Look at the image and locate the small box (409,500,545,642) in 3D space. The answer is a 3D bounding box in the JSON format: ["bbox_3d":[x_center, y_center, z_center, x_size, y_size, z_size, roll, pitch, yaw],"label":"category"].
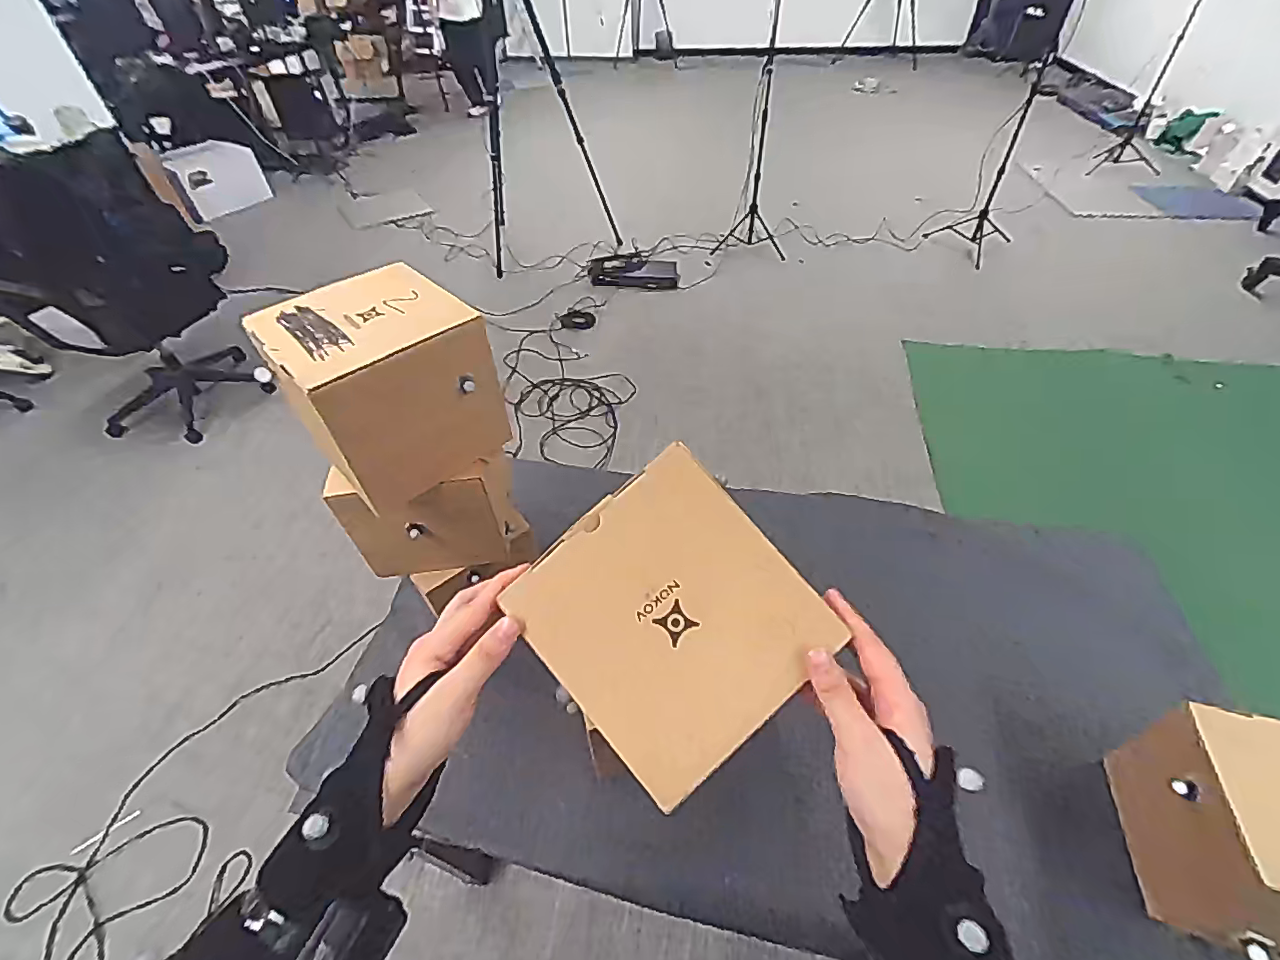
[{"bbox_3d":[-0.268,0.114,0.838,0.168,0.176,0.179,-33,54,-25],"label":"small box"}]

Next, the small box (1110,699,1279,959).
[{"bbox_3d":[0.636,0.364,0.555,0.168,0.176,0.179,11,45,15],"label":"small box"}]

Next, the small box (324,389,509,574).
[{"bbox_3d":[-0.274,0.004,0.715,0.179,0.176,0.168,-8,48,-4],"label":"small box"}]
